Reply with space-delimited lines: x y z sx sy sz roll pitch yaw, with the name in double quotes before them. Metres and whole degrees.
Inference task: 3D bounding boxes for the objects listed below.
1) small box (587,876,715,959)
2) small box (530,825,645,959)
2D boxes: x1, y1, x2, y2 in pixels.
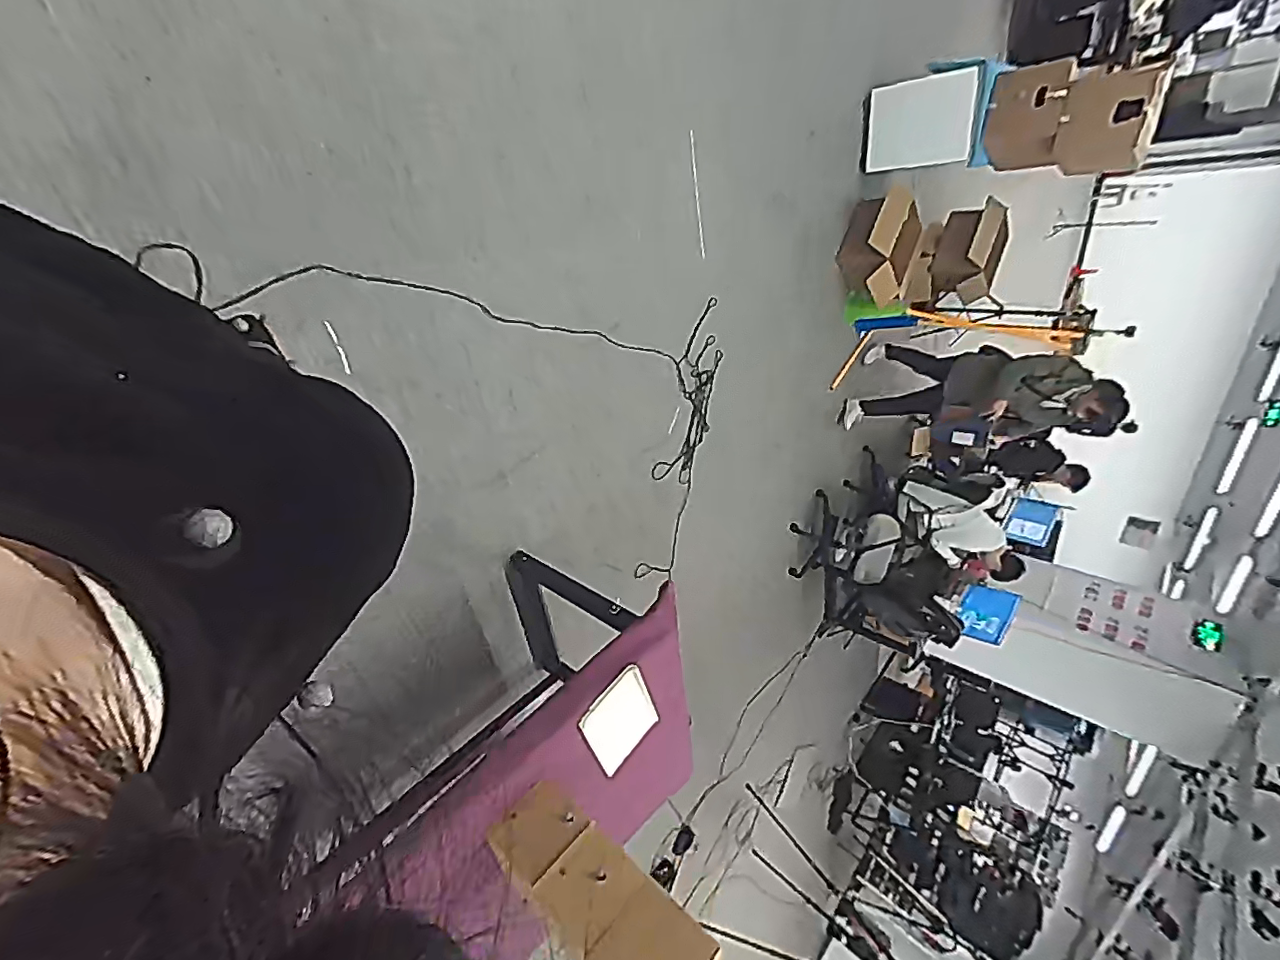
"small box" 0.017 0.879 0.970 0.179 0.176 0.168 -30 127 -39
"small box" -0.098 0.838 1.081 0.168 0.176 0.179 -32 128 -38
